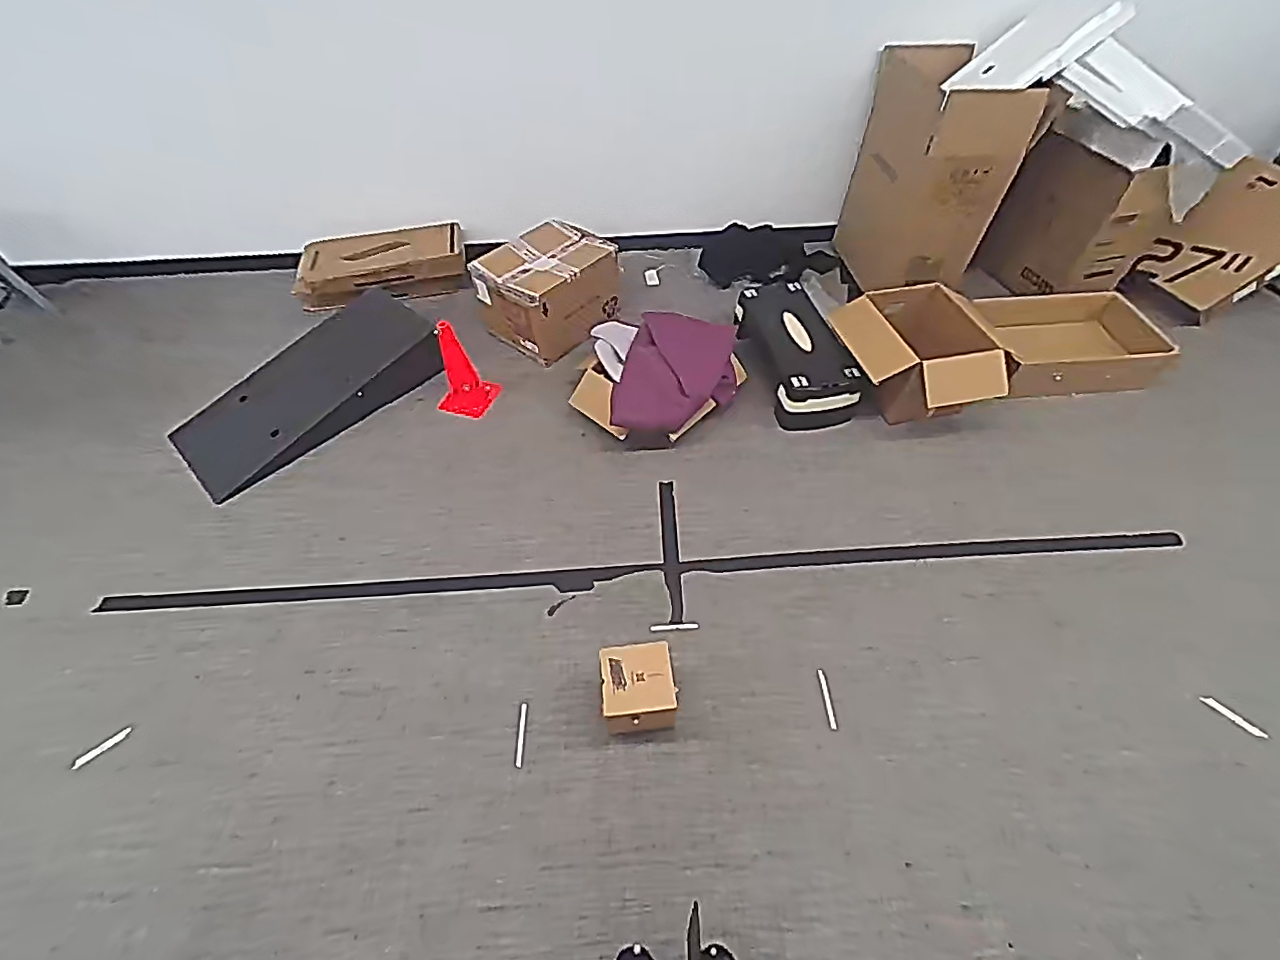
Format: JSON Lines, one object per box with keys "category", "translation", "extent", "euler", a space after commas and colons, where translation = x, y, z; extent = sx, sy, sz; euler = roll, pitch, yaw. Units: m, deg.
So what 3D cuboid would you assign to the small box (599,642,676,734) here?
{"category": "small box", "translation": [-0.006, 0.528, 1.364], "extent": [0.179, 0.176, 0.168], "euler": [-6, 52, -3]}
